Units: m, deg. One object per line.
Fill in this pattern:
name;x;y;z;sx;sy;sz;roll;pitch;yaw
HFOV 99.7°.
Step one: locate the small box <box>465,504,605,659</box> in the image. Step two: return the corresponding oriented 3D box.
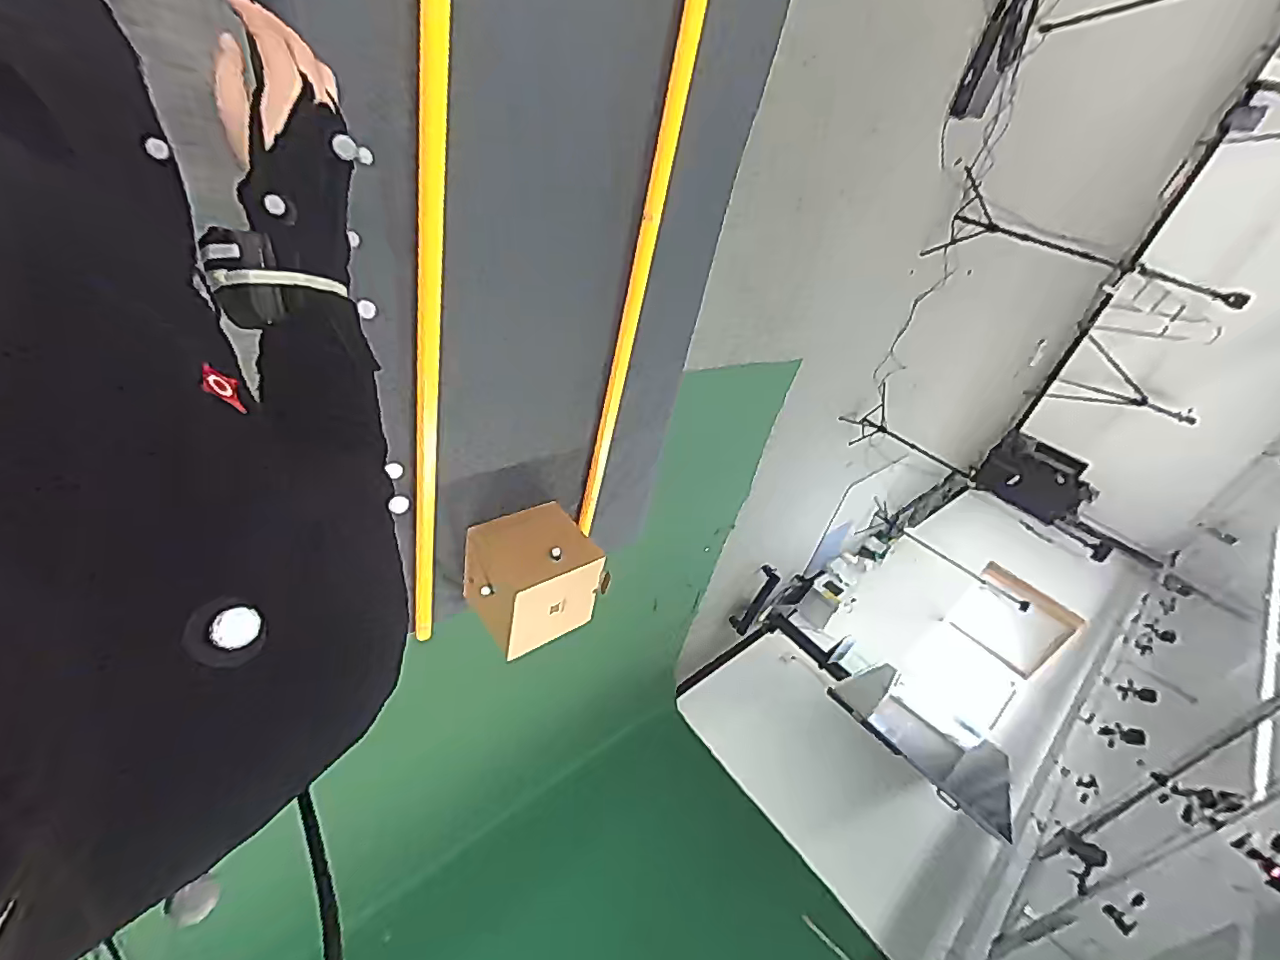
small box;-0.190;0.168;0.943;0.179;0.176;0.168;-18;135;-40
